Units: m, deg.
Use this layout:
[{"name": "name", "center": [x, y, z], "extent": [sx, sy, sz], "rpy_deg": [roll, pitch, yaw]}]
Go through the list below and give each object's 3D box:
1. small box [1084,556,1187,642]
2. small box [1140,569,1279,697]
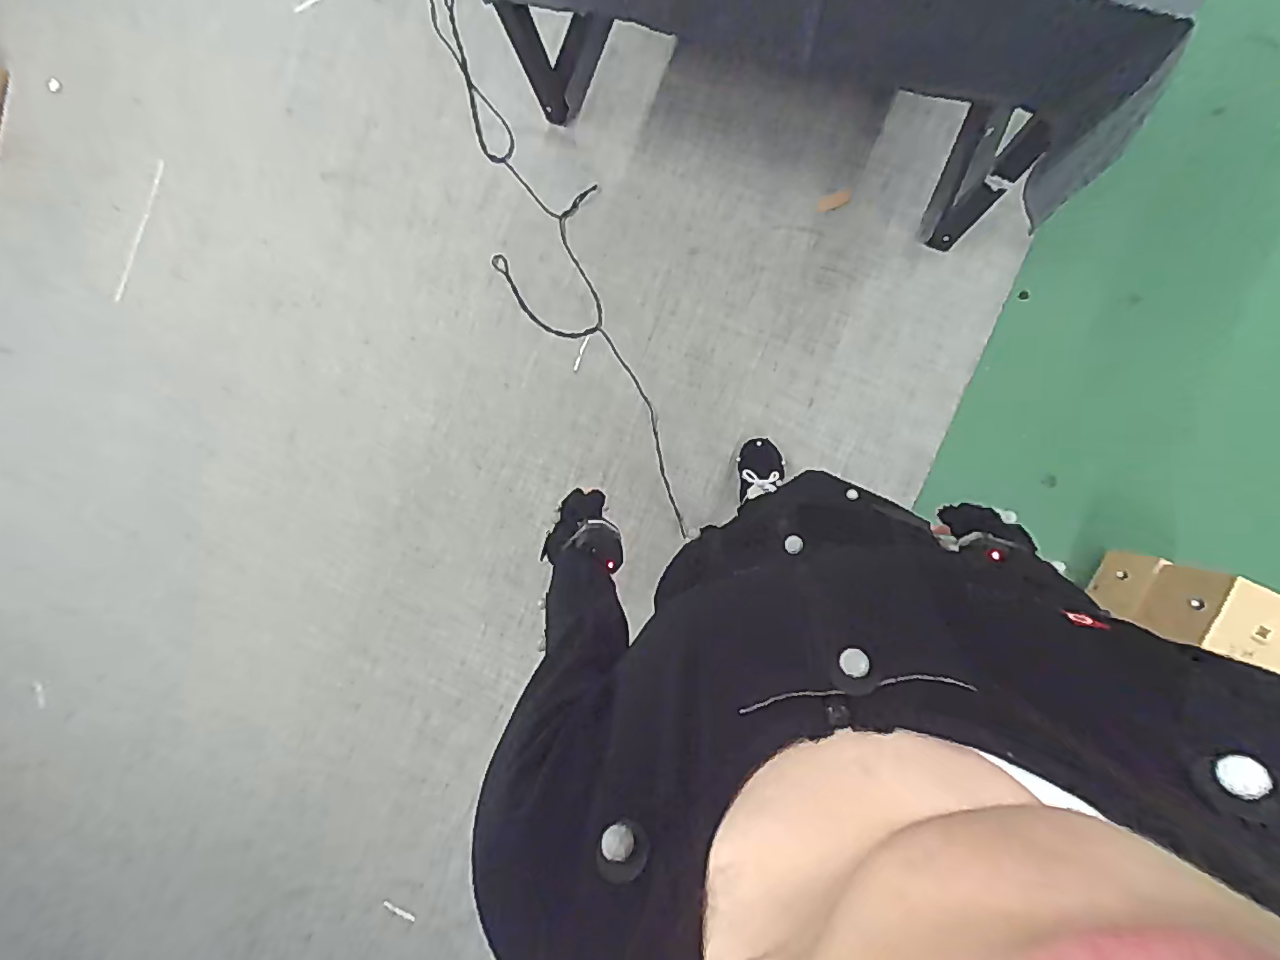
[{"name": "small box", "center": [1.198, 0.288, 1.255], "extent": [0.179, 0.176, 0.168], "rpy_deg": [28, 93, 7]}, {"name": "small box", "center": [1.181, 0.297, 1.090], "extent": [0.168, 0.176, 0.179], "rpy_deg": [27, 92, 7]}]
